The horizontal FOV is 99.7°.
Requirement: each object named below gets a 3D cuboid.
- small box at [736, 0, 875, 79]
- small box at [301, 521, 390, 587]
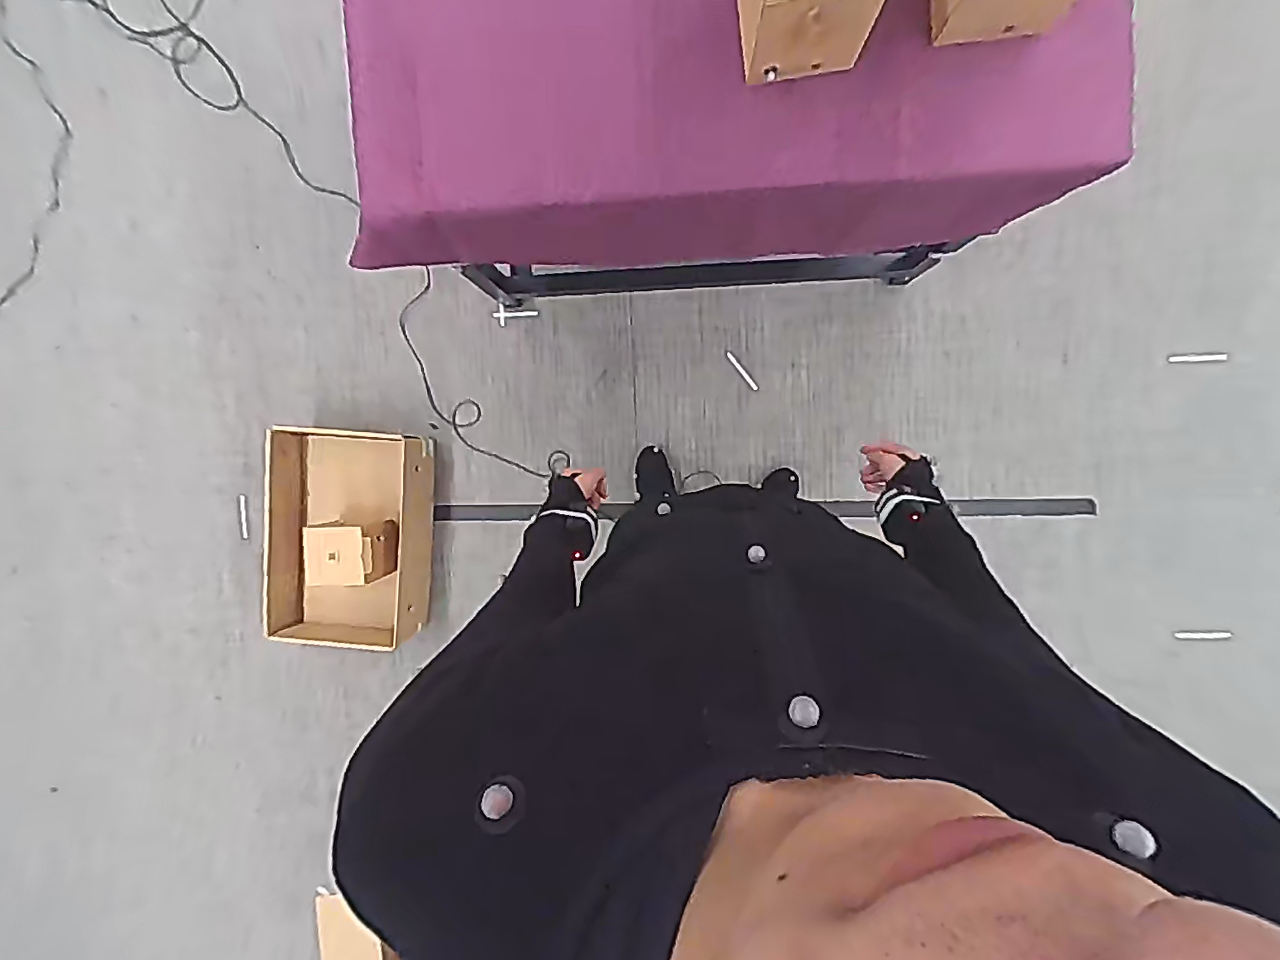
[{"bbox_3d":[0.230,-0.705,0.761,0.168,0.176,0.179,-7,93,4],"label":"small box"},{"bbox_3d":[-0.844,0.210,1.568,0.179,0.176,0.168,-1,92,3],"label":"small box"}]
